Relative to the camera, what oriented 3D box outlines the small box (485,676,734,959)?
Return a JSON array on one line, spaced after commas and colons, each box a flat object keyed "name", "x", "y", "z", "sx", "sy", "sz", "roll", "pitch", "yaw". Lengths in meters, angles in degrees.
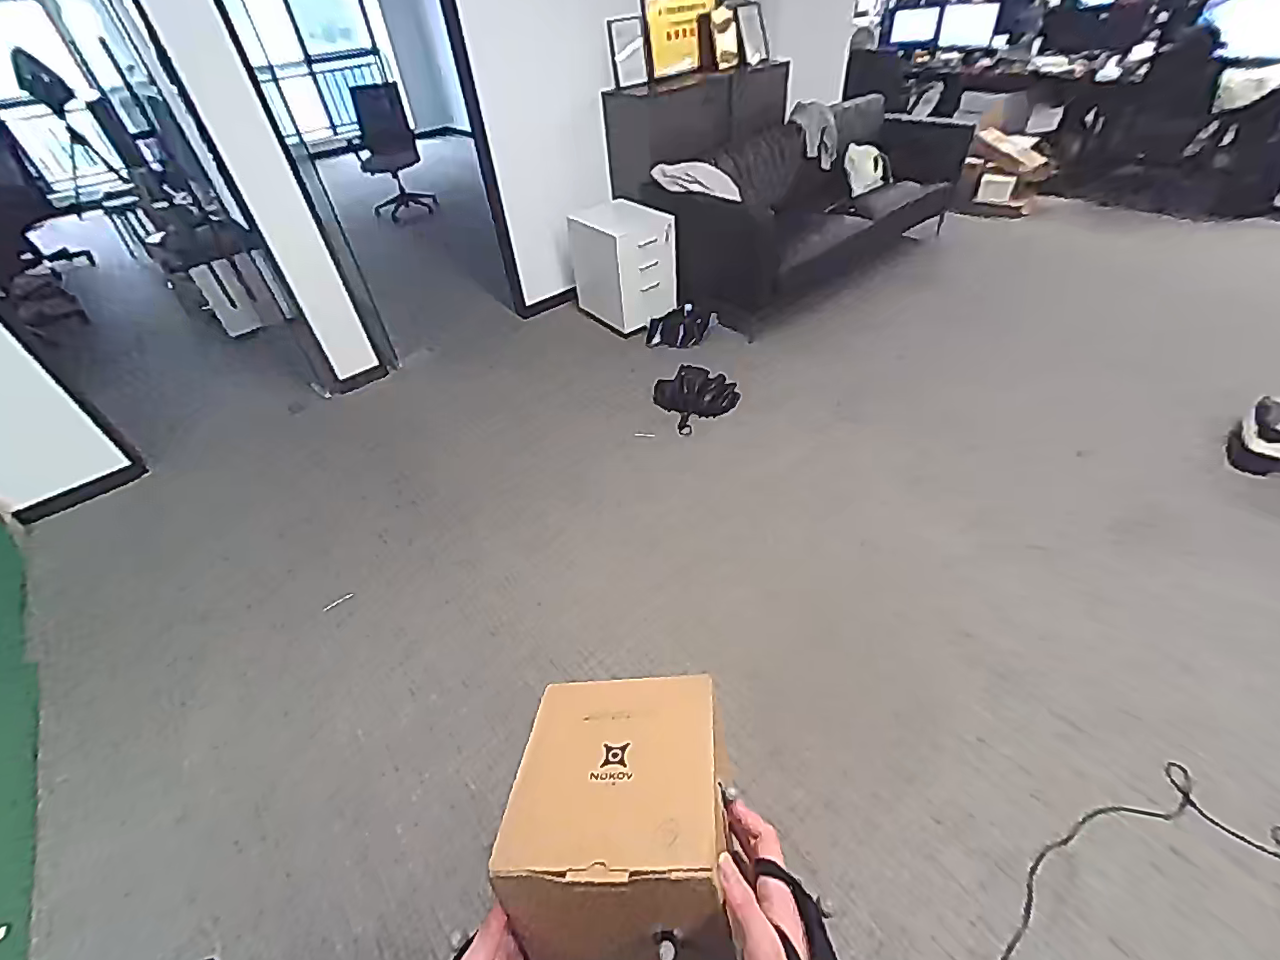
[{"name": "small box", "x": -0.009, "y": 0.302, "z": 0.478, "sx": 0.168, "sy": 0.176, "sz": 0.179, "roll": -6, "pitch": 24, "yaw": 9}]
